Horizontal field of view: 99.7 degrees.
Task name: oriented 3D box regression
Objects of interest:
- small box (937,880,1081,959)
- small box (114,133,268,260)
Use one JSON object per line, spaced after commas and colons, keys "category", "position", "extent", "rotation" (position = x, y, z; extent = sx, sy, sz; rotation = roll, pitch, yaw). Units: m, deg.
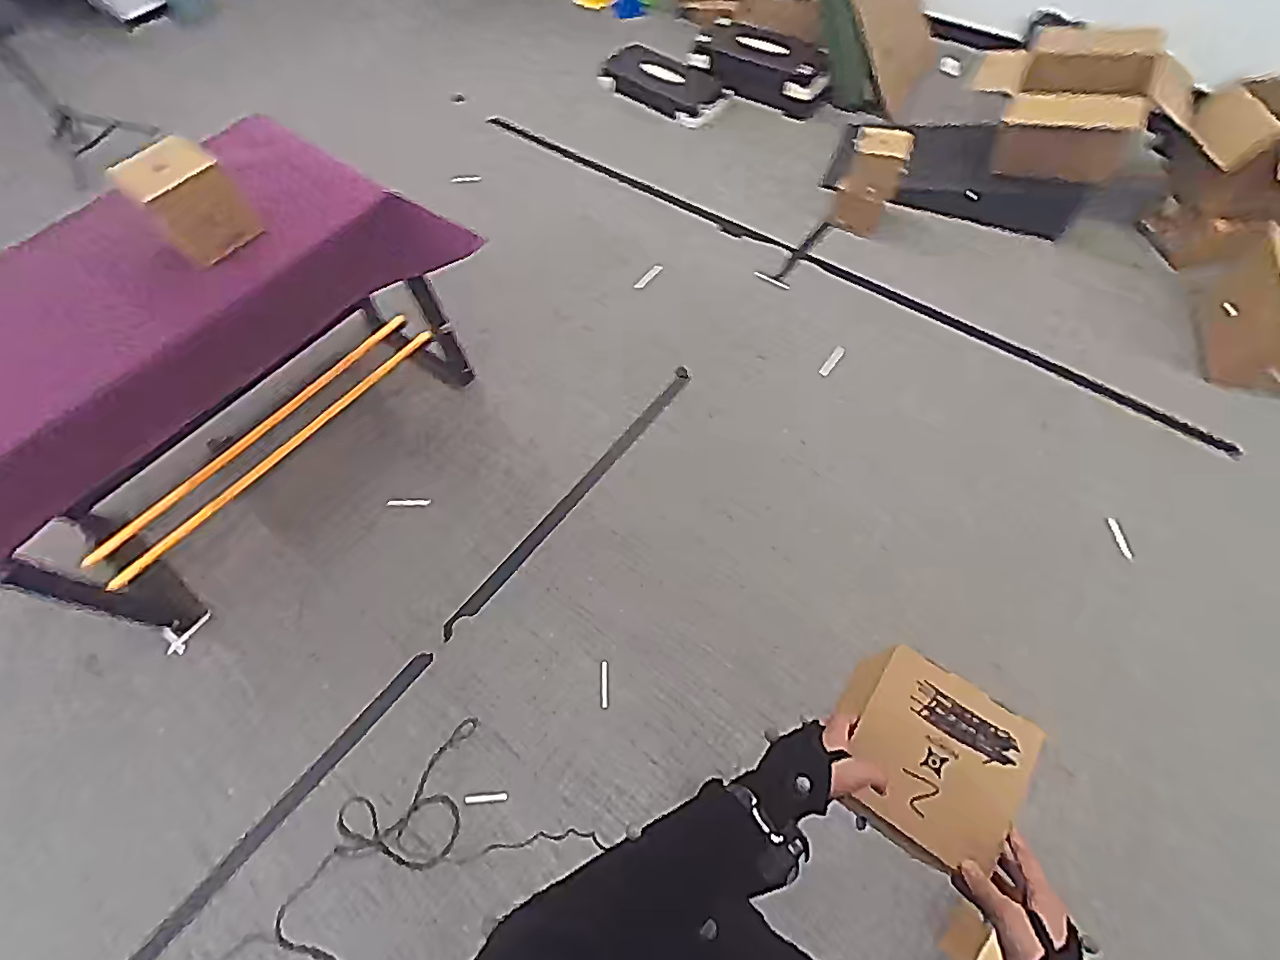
{"category": "small box", "position": [0.765, 0.998, 1.141], "extent": [0.179, 0.176, 0.168], "rotation": [-41, 68, -18]}
{"category": "small box", "position": [-0.993, -0.627, 1.213], "extent": [0.179, 0.176, 0.168], "rotation": [35, 69, 18]}
